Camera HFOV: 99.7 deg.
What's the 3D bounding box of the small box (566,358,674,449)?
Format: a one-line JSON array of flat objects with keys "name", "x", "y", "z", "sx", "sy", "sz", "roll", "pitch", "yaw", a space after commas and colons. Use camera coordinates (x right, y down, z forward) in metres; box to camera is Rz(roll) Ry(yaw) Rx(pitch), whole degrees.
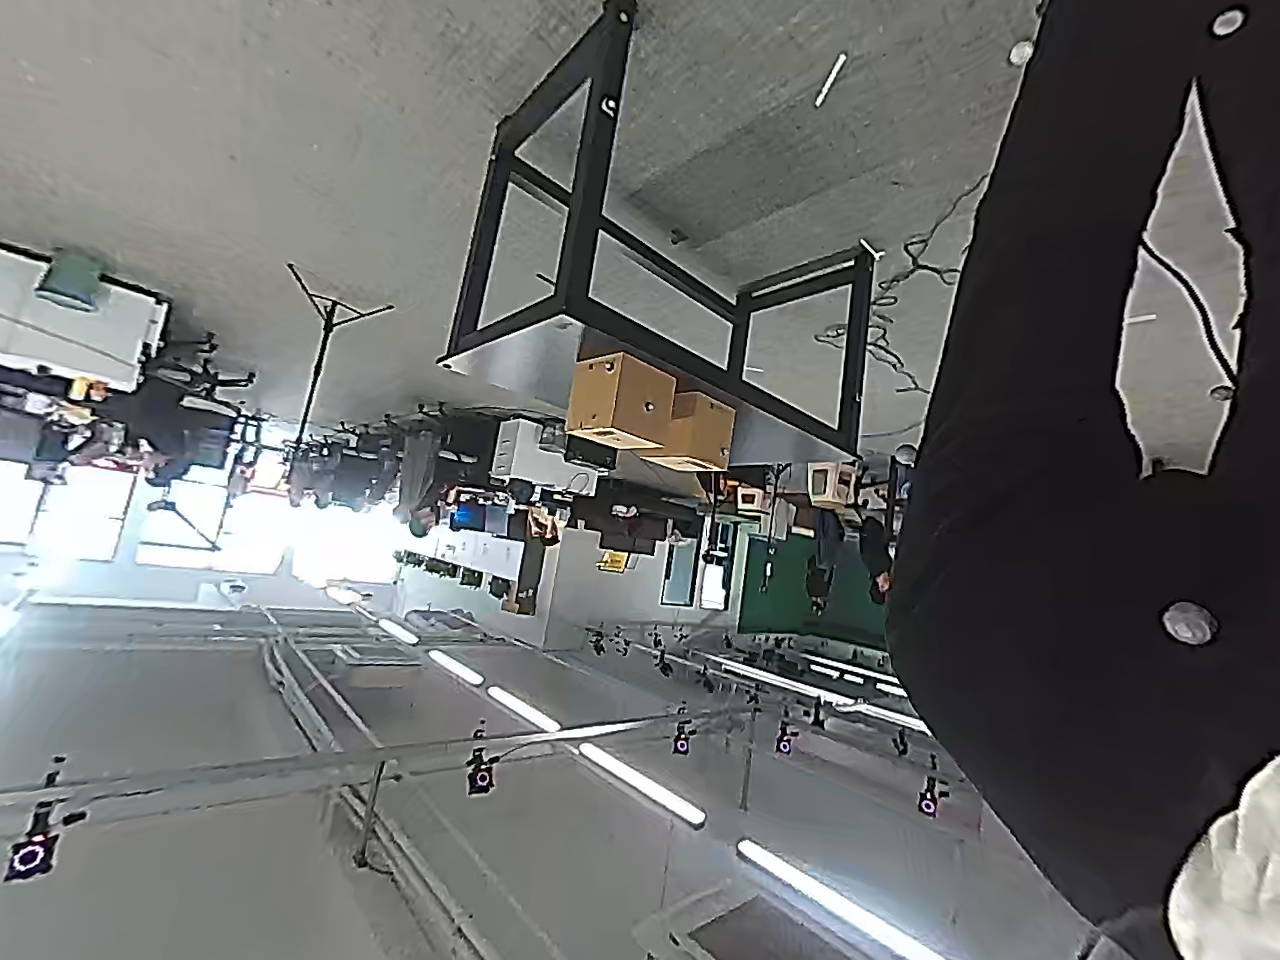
[{"name": "small box", "x": -0.044, "y": -0.173, "z": 1.238, "sx": 0.179, "sy": 0.176, "sz": 0.168, "roll": 14, "pitch": 171, "yaw": -43}]
